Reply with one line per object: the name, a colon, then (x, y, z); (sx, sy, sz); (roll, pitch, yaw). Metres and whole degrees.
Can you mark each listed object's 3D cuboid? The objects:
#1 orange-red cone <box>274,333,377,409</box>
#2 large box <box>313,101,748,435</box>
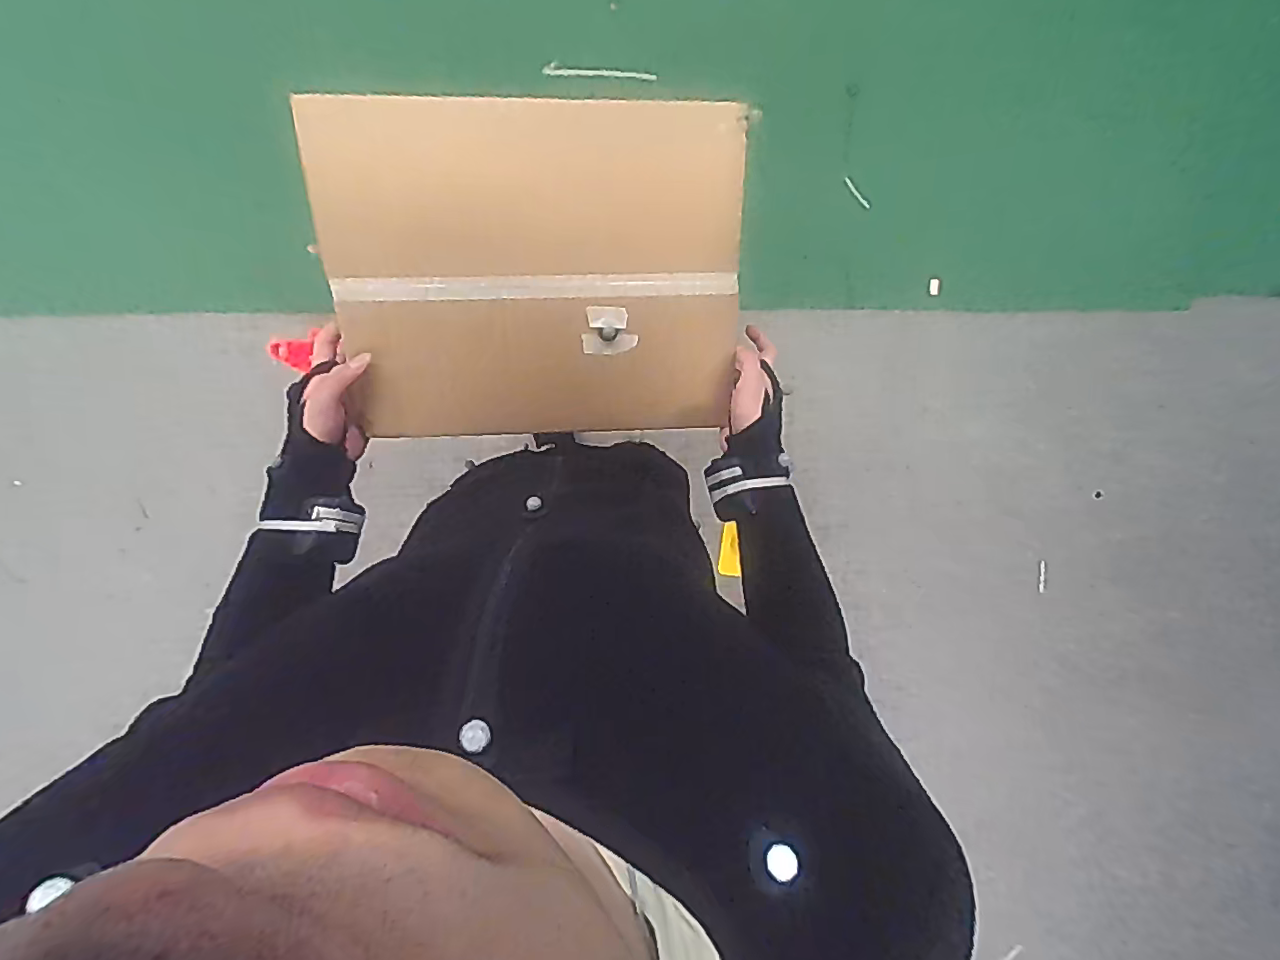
orange-red cone: (-0.795, -0.289, 1.346); (0.199, 0.360, 0.198); (5, 94, -5)
large box: (-0.108, -0.259, 0.688); (0.408, 0.320, 0.320); (-3, 114, -5)
